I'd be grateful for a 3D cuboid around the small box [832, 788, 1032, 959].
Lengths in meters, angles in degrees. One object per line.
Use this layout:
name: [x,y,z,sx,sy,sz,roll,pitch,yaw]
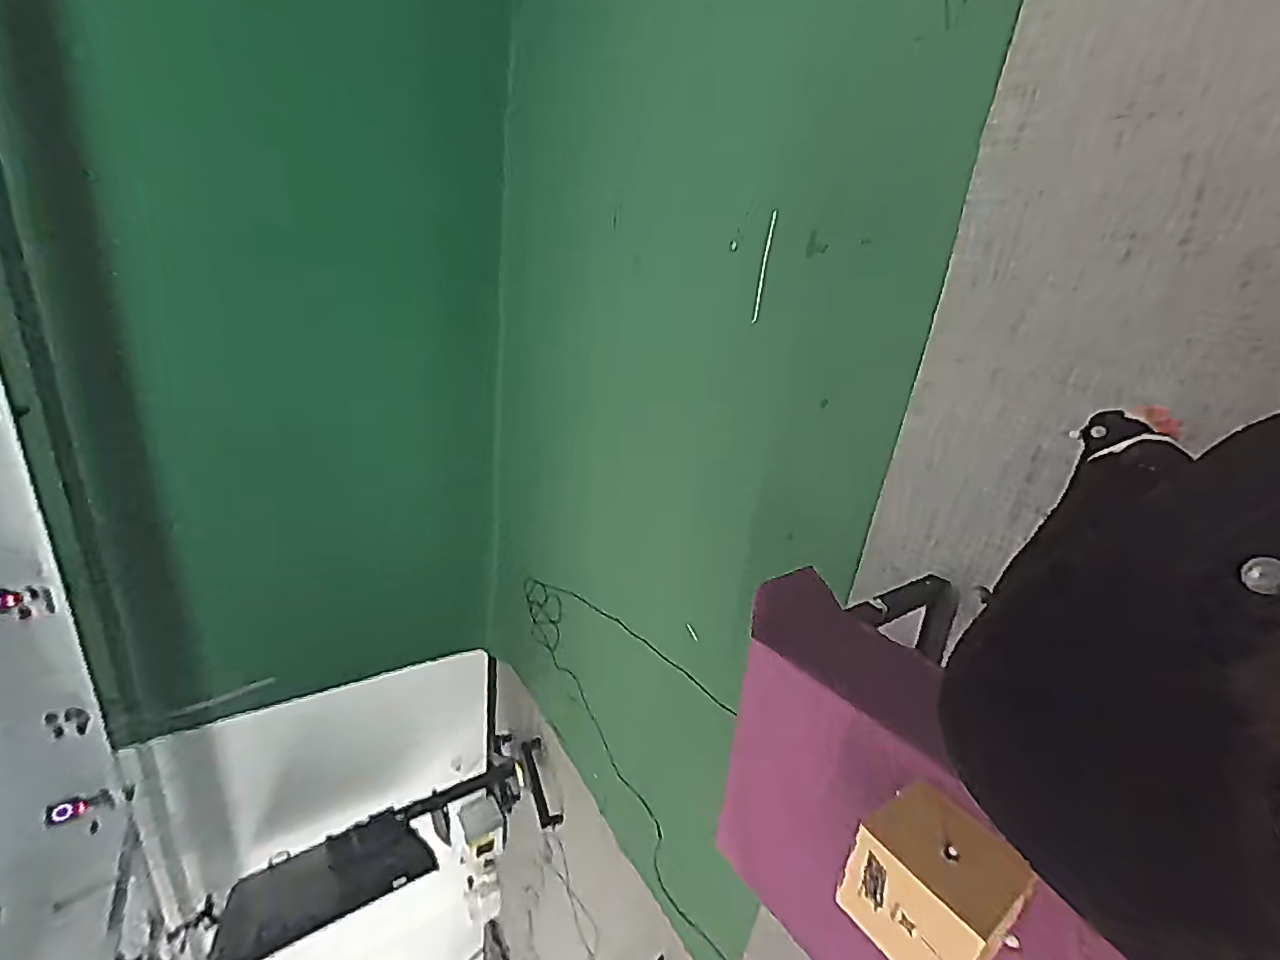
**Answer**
small box: [0.418,0.587,0.786,0.179,0.176,0.168,31,121,48]
